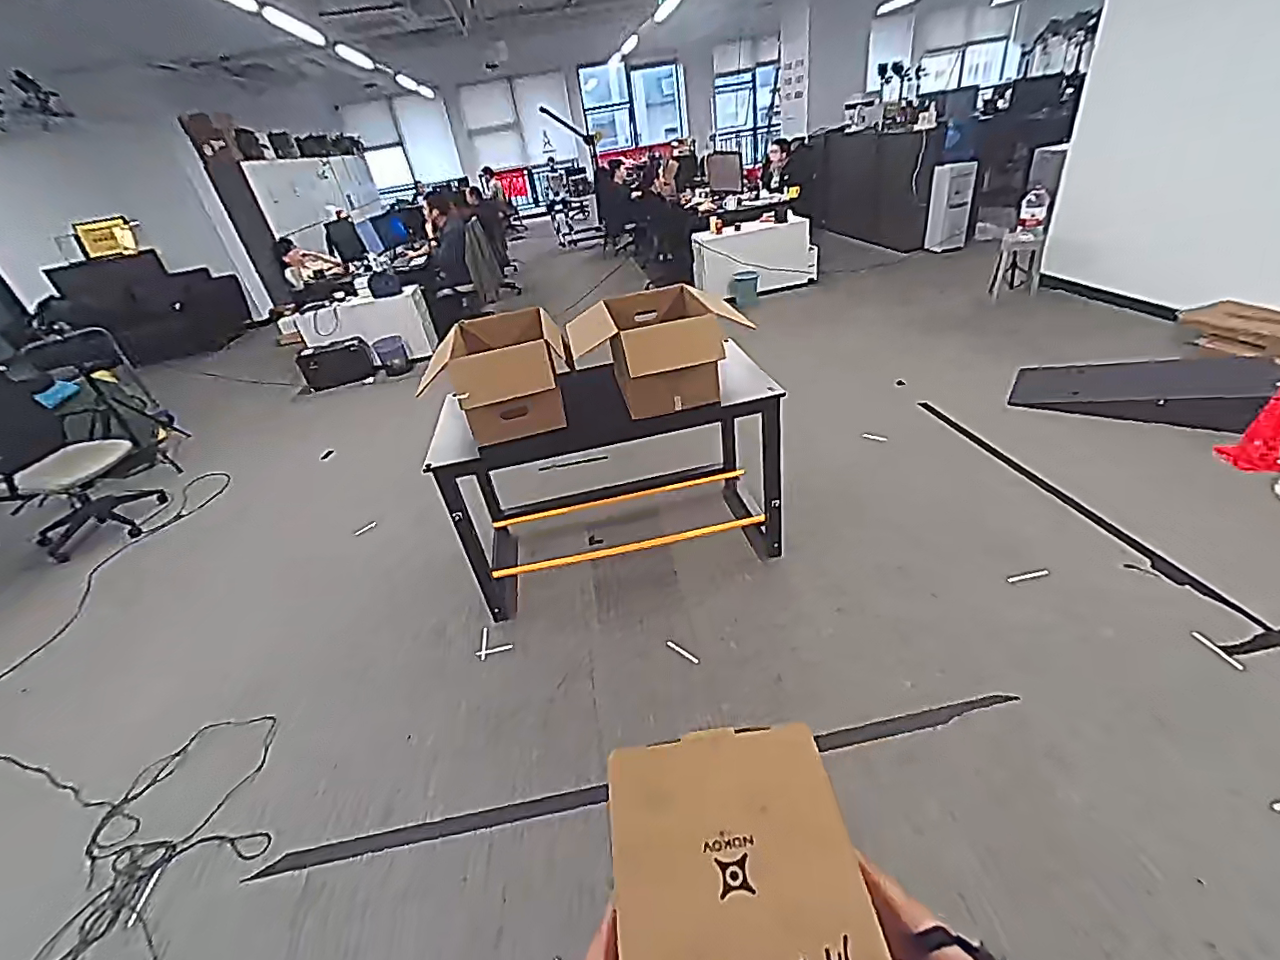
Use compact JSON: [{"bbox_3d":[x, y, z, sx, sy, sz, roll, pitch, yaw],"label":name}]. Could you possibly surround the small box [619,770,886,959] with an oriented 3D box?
[{"bbox_3d":[0.077,0.352,0.406,0.168,0.176,0.179,-8,39,-1],"label":"small box"}]
